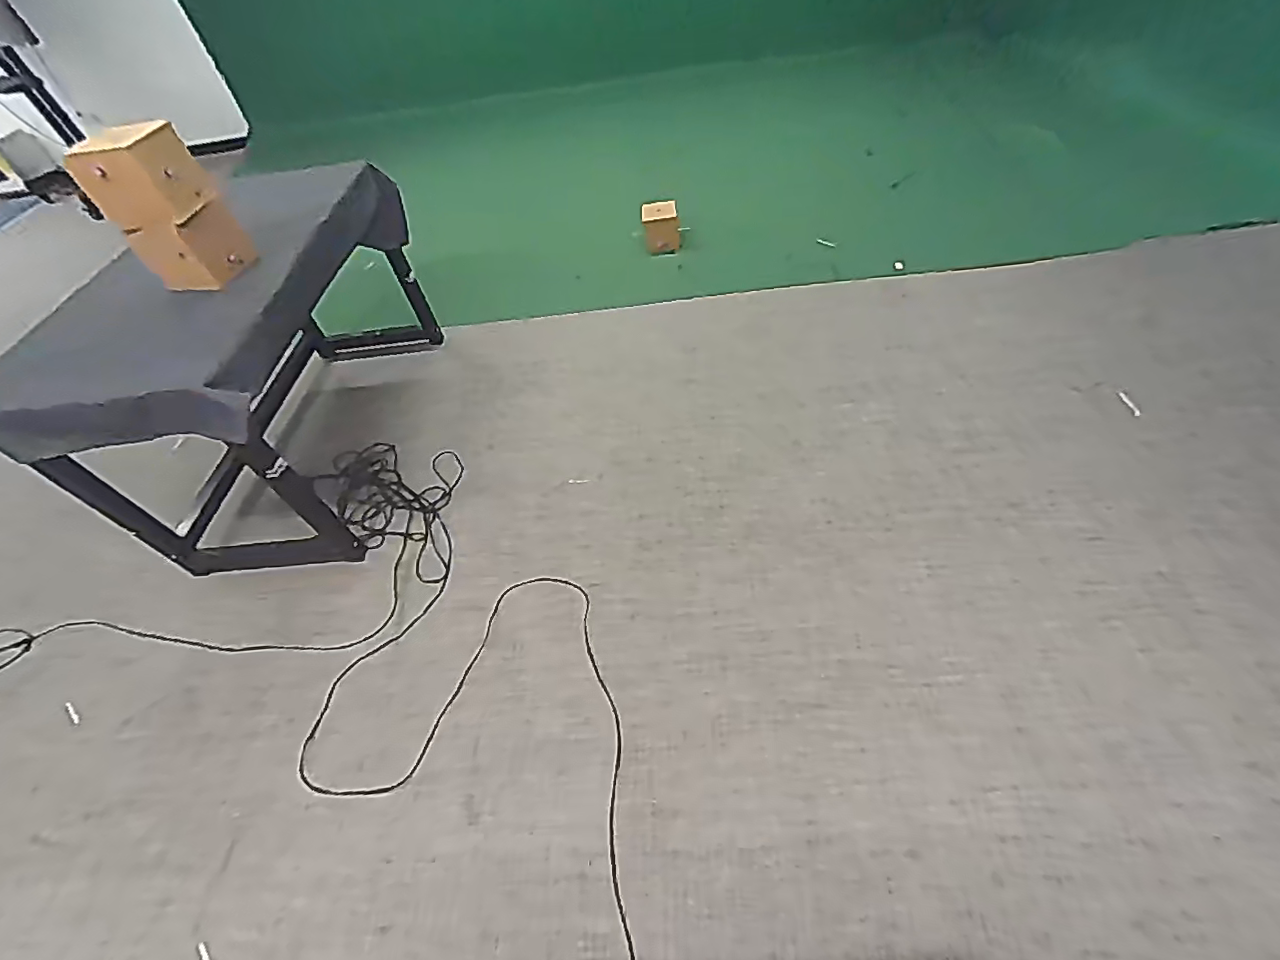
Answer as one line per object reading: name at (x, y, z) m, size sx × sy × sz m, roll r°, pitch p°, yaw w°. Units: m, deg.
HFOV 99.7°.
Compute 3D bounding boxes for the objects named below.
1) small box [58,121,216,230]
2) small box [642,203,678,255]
small box at (-1.163, -0.712, 1.271) m, size 0.179 × 0.176 × 0.168 m, roll -3°, pitch 51°, yaw 6°
small box at (0.098, -1.245, 2.684) m, size 0.168 × 0.176 × 0.179 m, roll -6°, pitch 51°, yaw 5°
